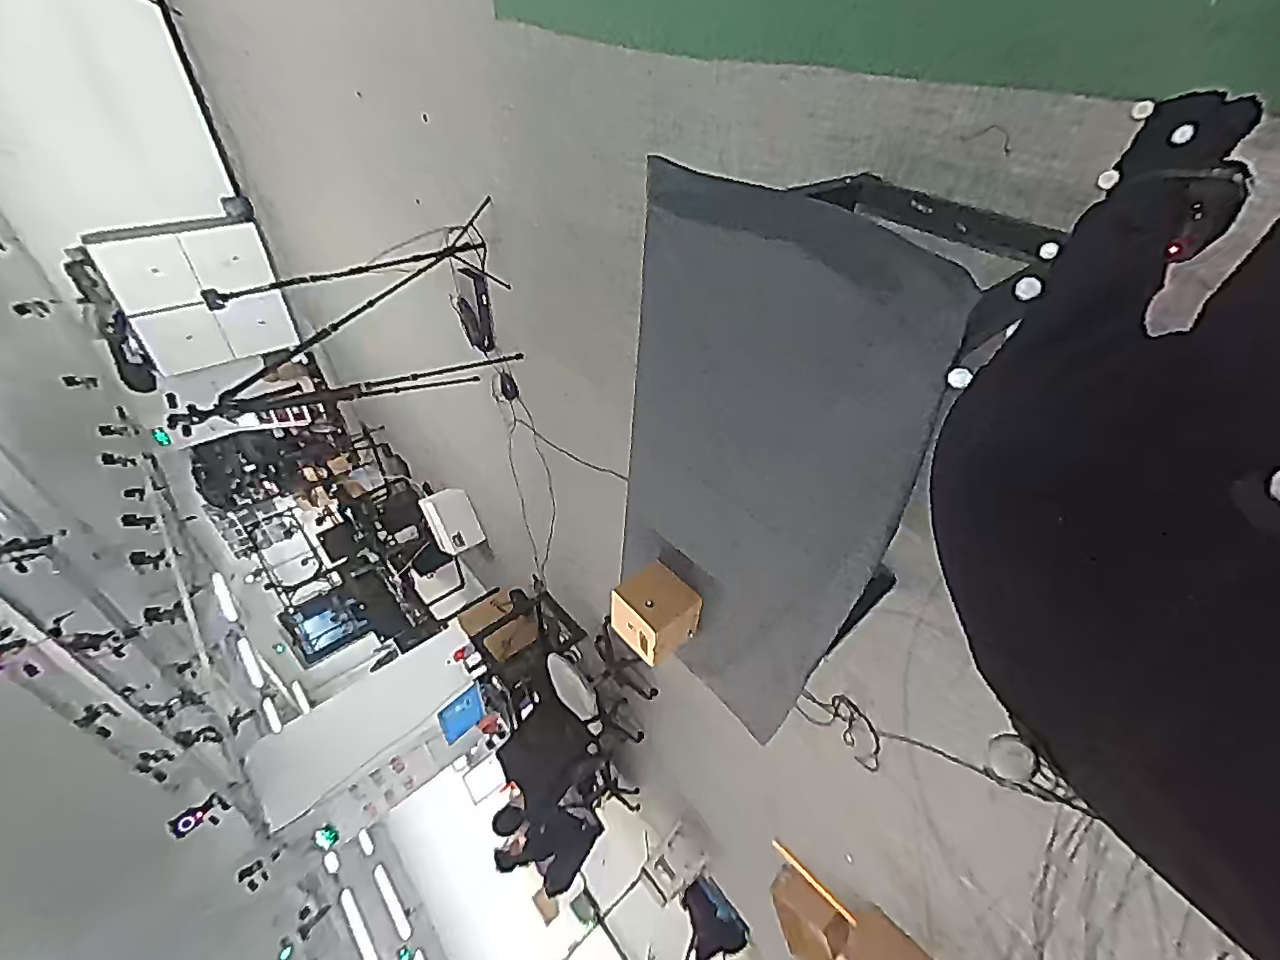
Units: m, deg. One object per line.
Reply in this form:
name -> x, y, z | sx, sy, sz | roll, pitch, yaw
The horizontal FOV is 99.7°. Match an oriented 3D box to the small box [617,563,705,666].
small box -> 0.056, 0.356, 1.466 | 0.179, 0.176, 0.168 | 38, 141, 34
